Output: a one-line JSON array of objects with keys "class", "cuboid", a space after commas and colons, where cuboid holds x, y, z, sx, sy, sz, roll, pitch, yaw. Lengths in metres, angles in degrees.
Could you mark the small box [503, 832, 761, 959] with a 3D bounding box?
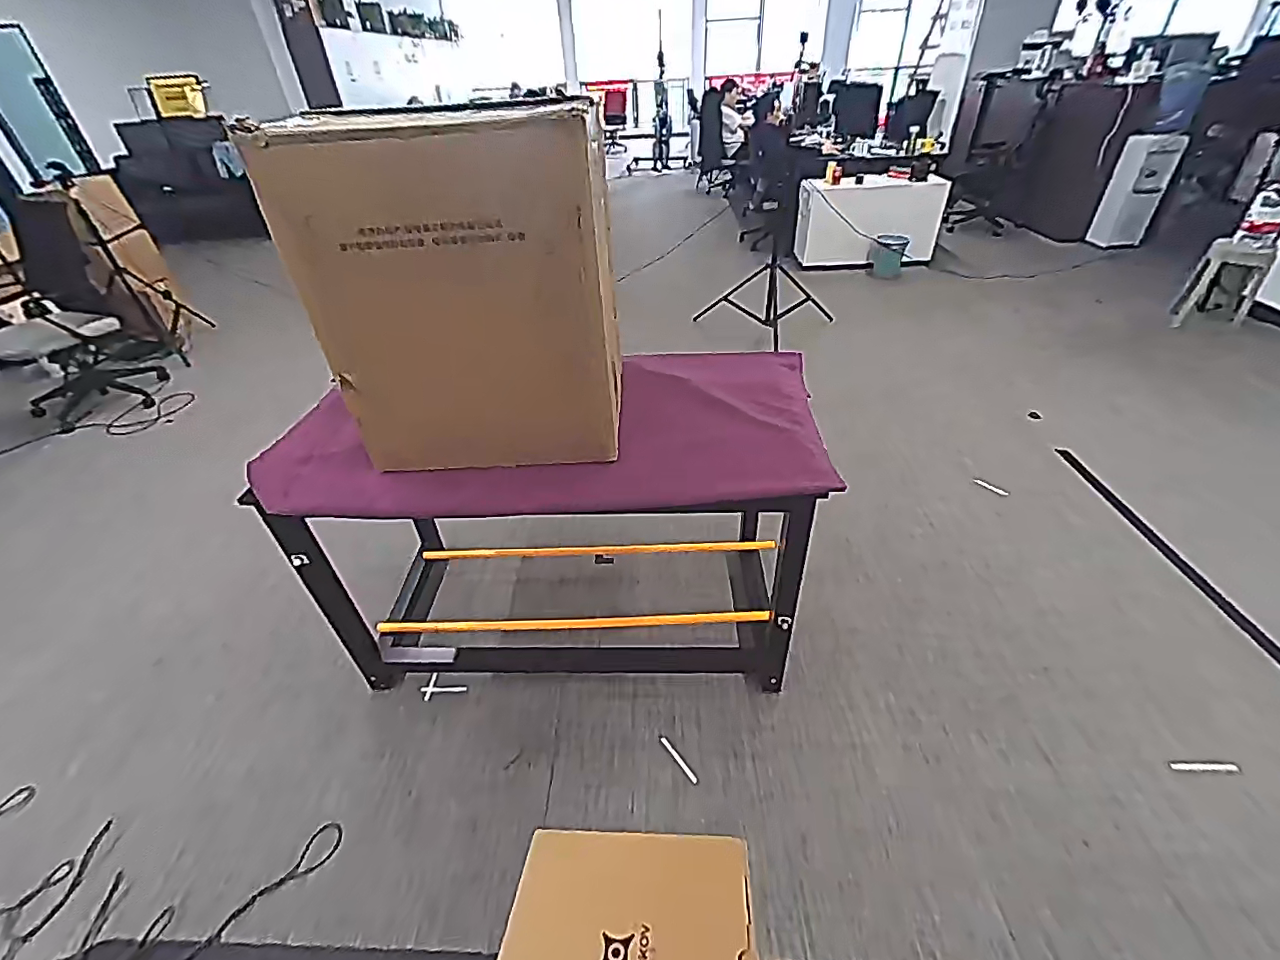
[{"class": "small box", "cuboid": [0.001, 0.395, 0.395, 0.179, 0.176, 0.168, -4, 23, 9]}]
